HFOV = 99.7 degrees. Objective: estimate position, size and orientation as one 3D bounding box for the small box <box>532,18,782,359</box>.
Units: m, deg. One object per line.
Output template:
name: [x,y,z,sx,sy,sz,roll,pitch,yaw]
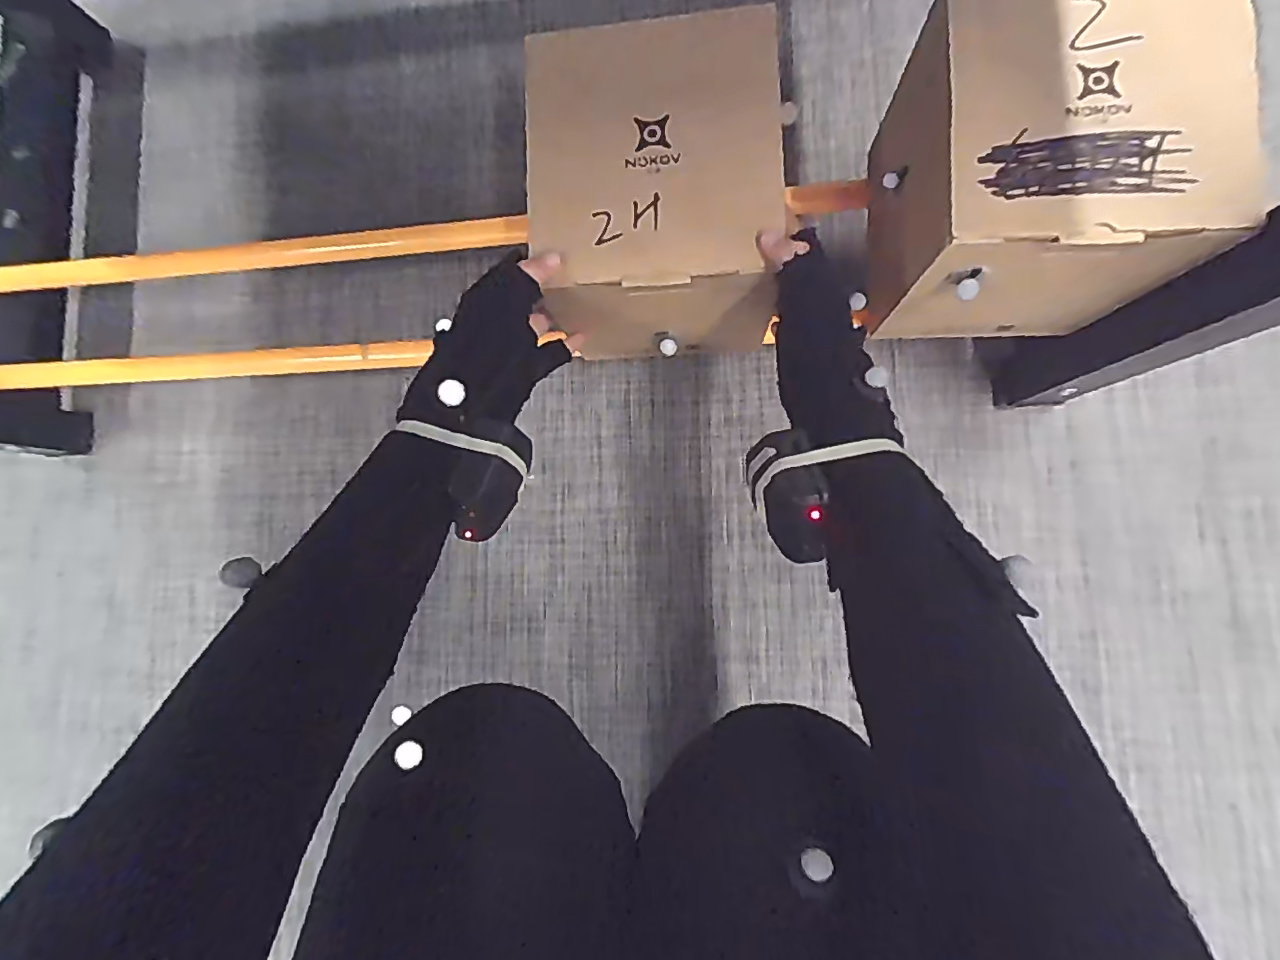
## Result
small box: [0.018,-0.210,0.437,0.168,0.176,0.179,-2,85,7]
